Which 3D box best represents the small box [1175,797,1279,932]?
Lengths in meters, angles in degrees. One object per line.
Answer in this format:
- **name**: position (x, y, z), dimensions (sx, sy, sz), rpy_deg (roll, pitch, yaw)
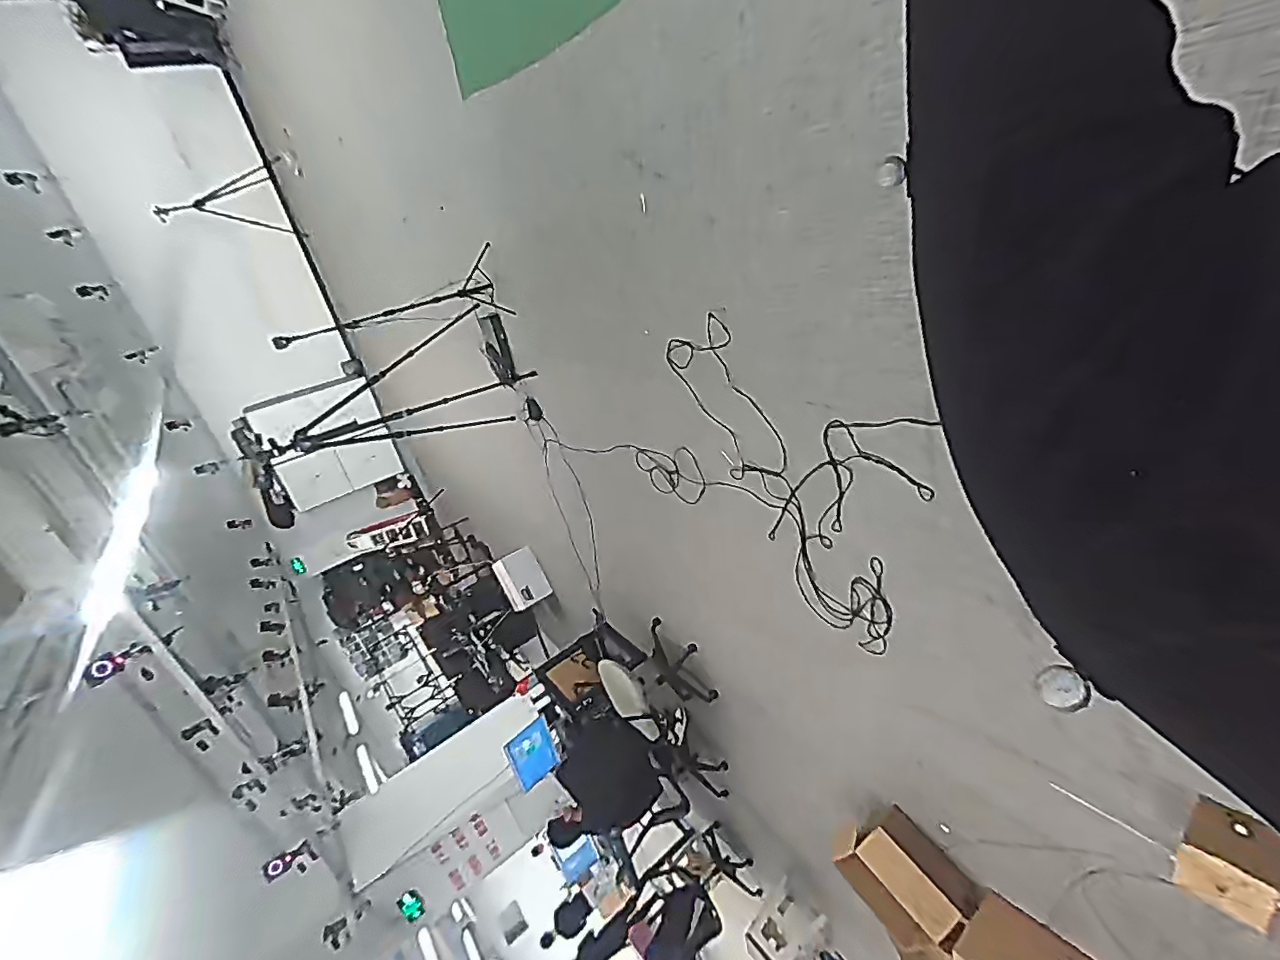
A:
- **small box**: position (1.482, 0.947, 1.347), dimensions (0.168, 0.176, 0.179), rpy_deg (17, 129, 52)
